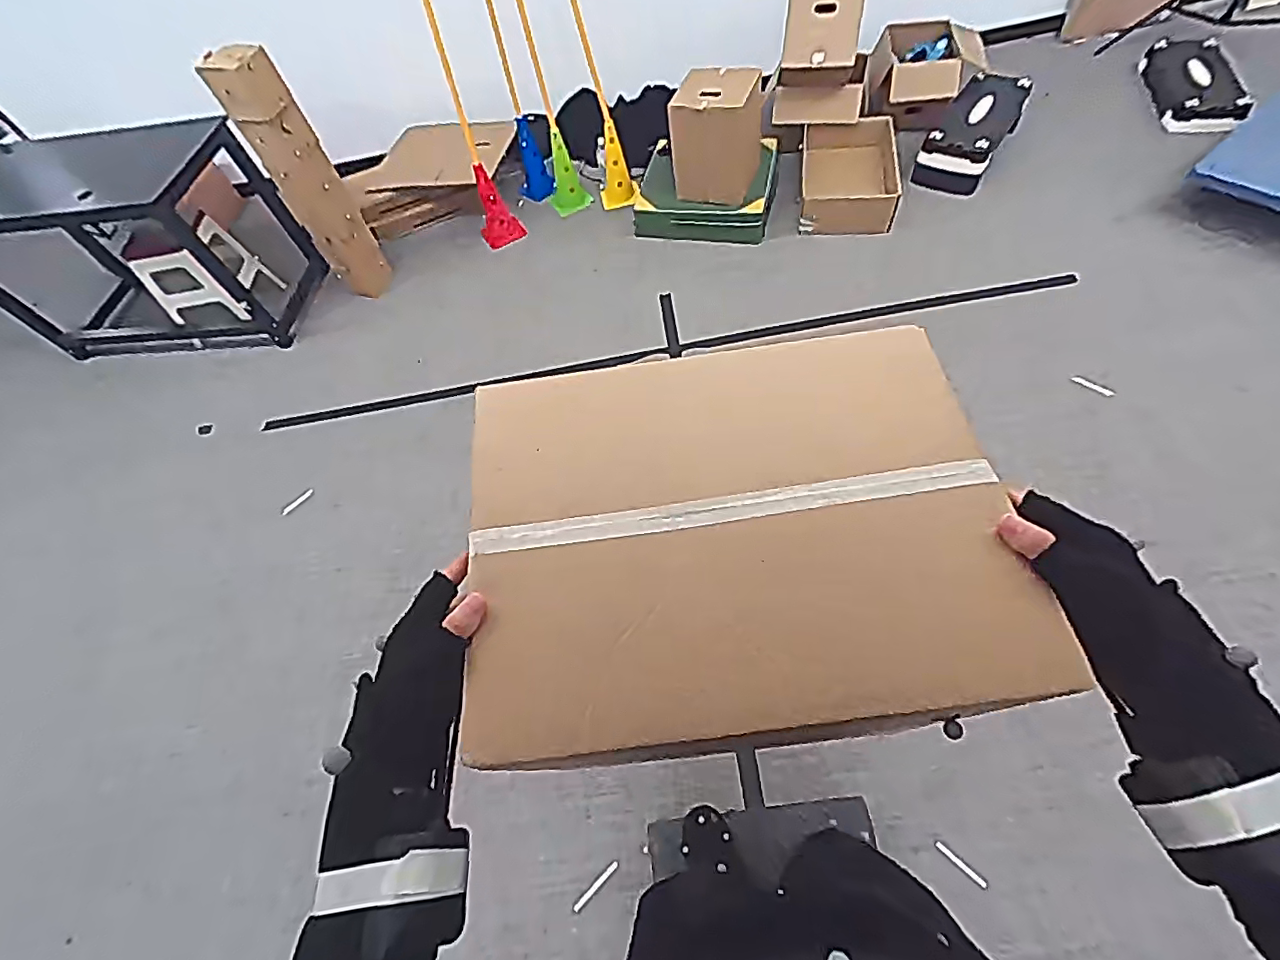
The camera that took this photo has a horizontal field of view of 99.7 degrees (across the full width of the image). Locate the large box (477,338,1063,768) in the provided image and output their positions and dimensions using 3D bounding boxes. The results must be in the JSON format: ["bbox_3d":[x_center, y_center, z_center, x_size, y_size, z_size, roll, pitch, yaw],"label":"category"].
[{"bbox_3d":[0.084,0.100,0.560,0.408,0.320,0.320,-8,61,2],"label":"large box"}]

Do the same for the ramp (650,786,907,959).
[{"bbox_3d":[0.329,1.182,1.046,0.509,0.206,0.991,-10,59,2],"label":"ramp"}]
